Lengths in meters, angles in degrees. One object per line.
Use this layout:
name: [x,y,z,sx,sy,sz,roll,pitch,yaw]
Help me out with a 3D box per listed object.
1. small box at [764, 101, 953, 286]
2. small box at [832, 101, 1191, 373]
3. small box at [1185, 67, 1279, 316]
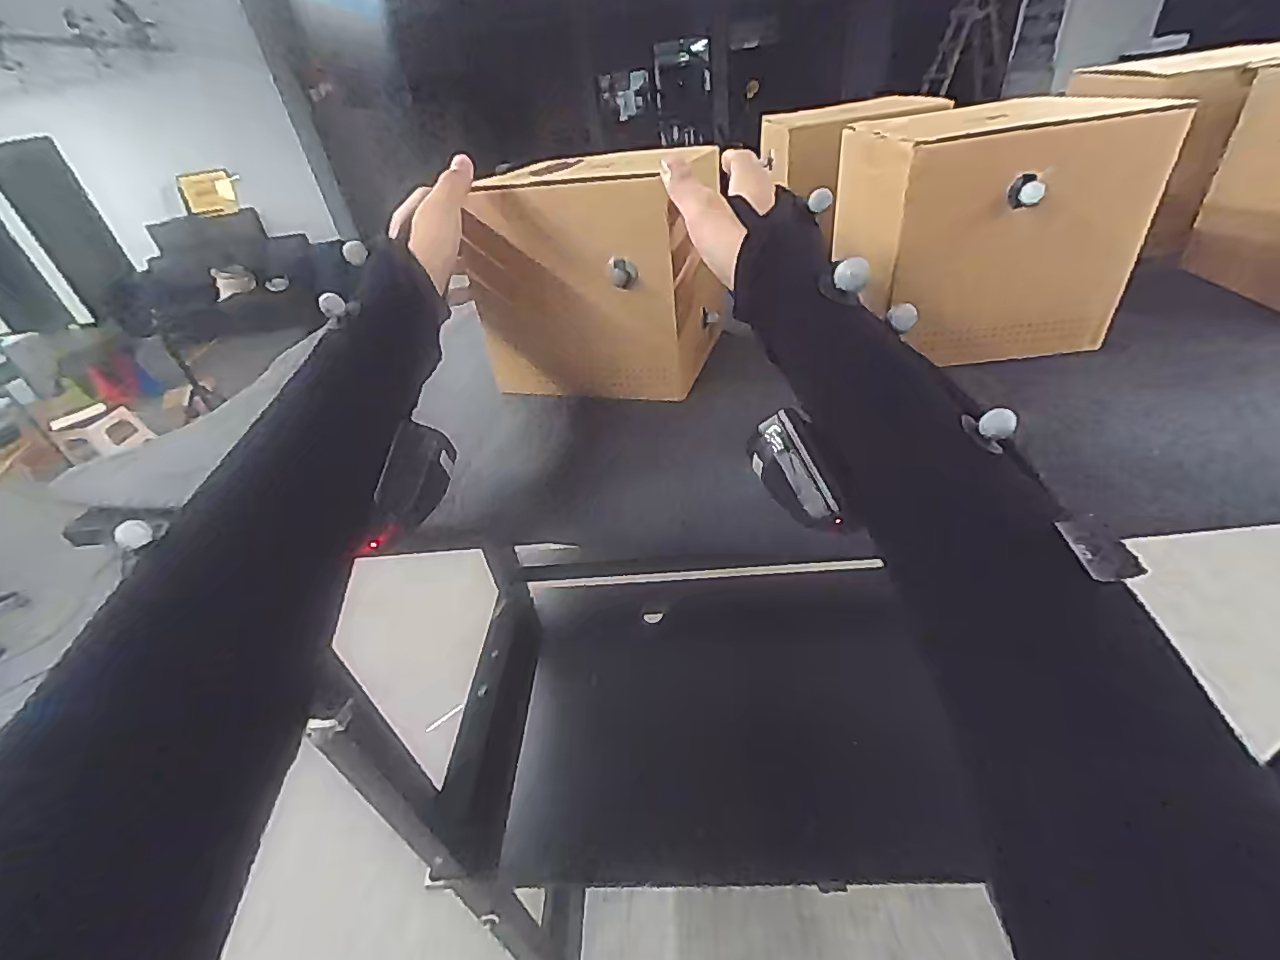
small box: [0.247,-0.351,0.664,0.168,0.176,0.179,-5,36,6]
small box: [0.277,-0.206,0.460,0.179,0.176,0.168,-5,36,5]
small box: [0.599,-0.228,0.420,0.168,0.176,0.179,-1,36,11]
